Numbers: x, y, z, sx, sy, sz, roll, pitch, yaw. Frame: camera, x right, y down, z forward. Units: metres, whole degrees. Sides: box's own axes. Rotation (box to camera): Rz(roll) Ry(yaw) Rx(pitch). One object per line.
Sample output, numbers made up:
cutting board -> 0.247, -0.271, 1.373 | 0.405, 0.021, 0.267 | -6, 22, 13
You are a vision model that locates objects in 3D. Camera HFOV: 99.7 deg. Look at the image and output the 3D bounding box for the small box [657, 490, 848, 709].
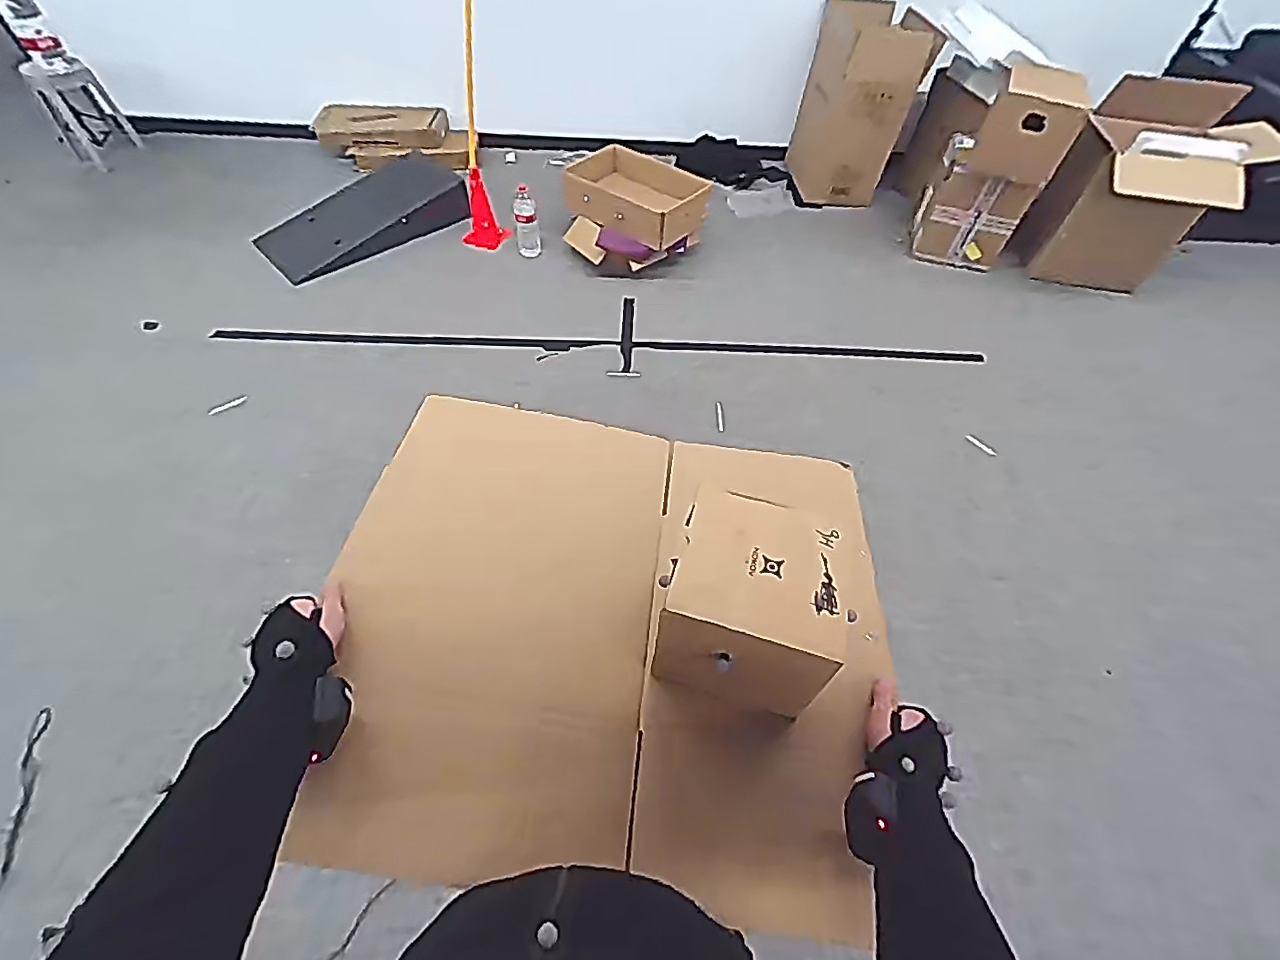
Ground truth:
small box -> 0.123, 0.142, 0.625 | 0.179, 0.176, 0.168 | 14, 51, 9
